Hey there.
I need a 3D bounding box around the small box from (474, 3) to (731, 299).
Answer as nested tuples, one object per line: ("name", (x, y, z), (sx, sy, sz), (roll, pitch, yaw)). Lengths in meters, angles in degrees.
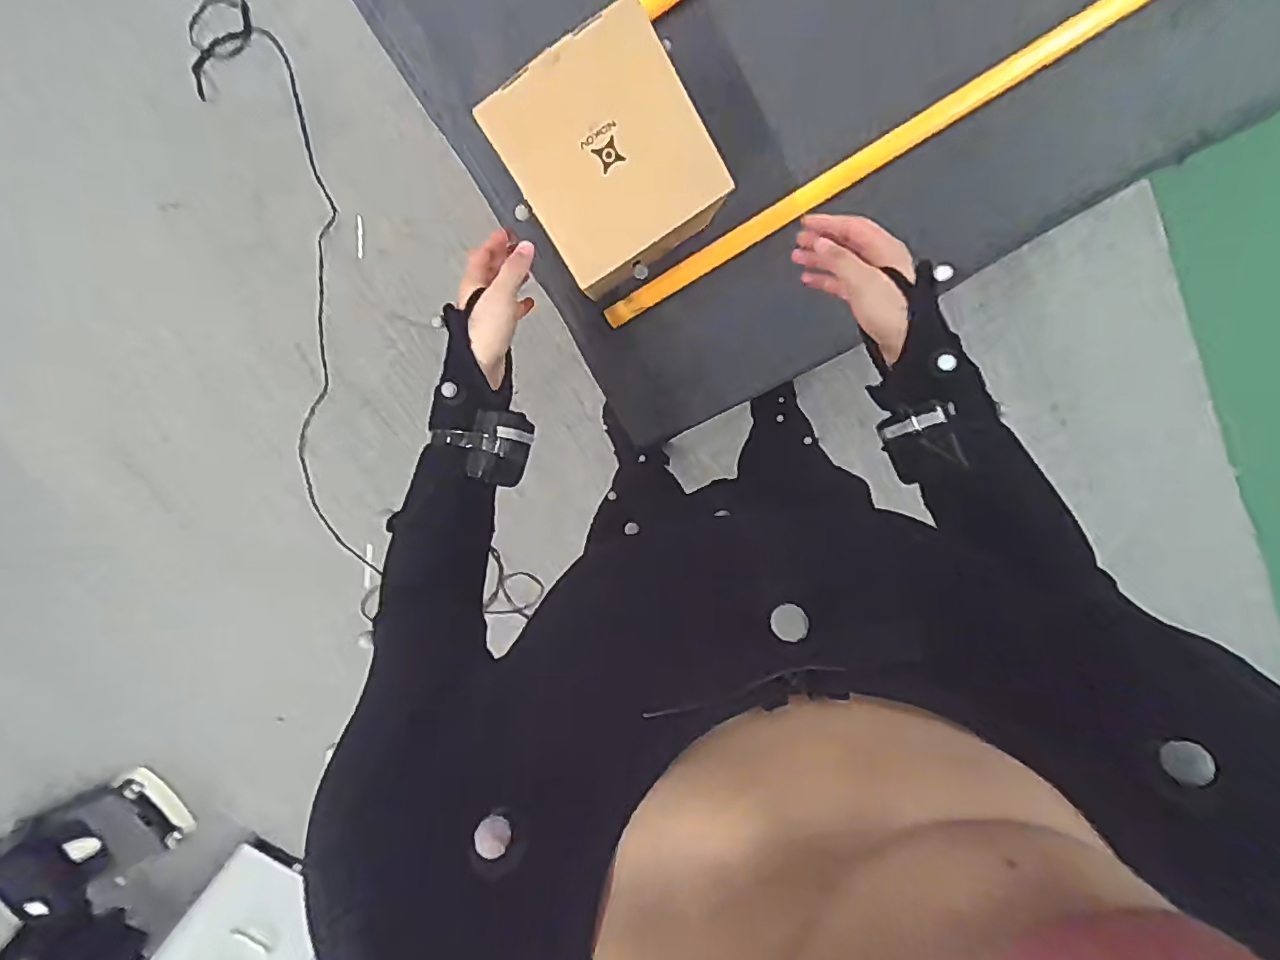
("small box", (-0.030, -0.302, 0.548), (0.168, 0.176, 0.179), (-32, 103, 8))
